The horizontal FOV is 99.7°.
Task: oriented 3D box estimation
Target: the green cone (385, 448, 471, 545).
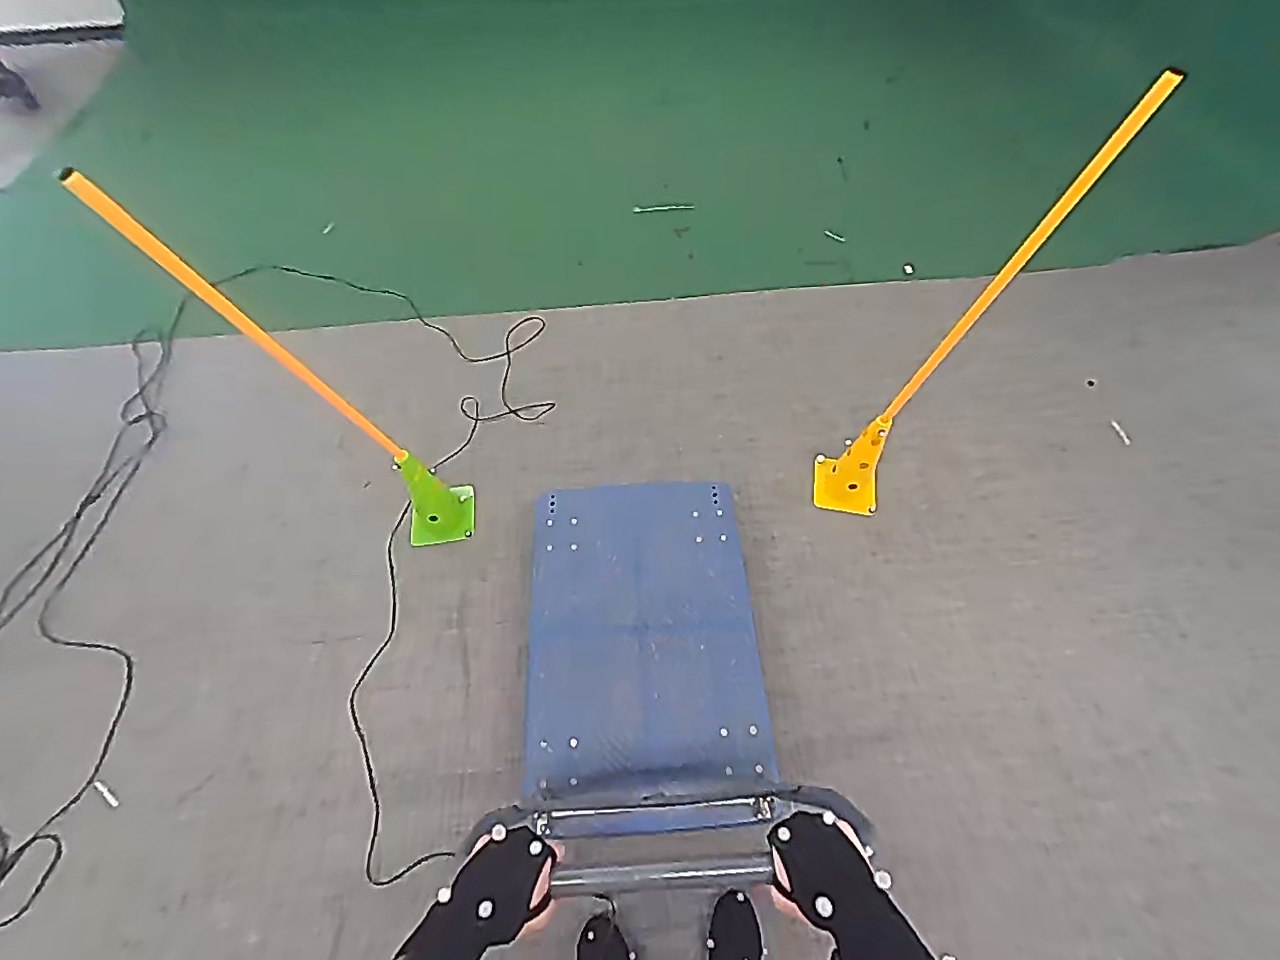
[{"bbox_3d":[-0.654,0.019,1.603,0.202,0.368,0.200,-9,58,-3],"label":"green cone"}]
